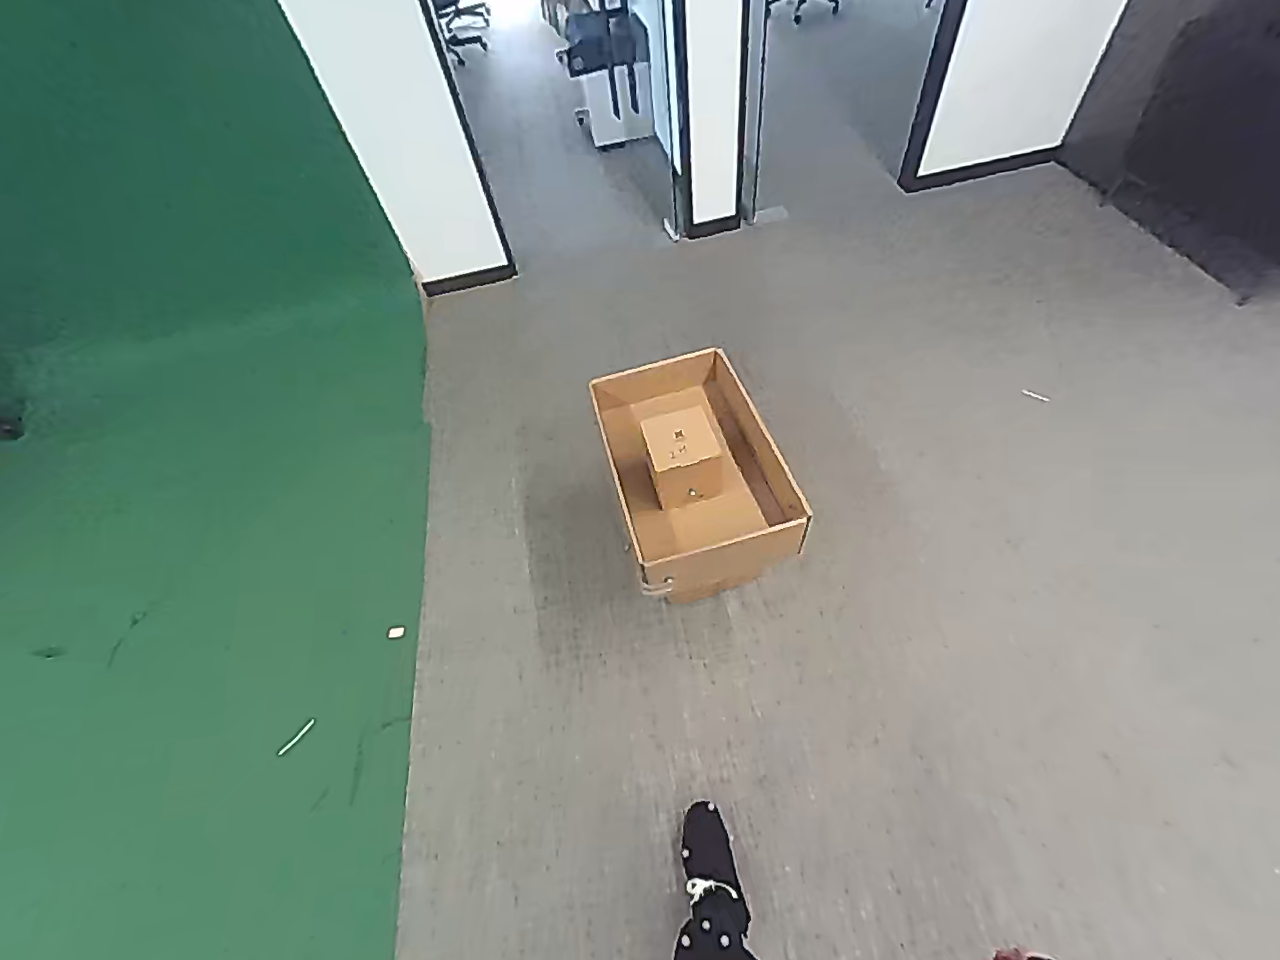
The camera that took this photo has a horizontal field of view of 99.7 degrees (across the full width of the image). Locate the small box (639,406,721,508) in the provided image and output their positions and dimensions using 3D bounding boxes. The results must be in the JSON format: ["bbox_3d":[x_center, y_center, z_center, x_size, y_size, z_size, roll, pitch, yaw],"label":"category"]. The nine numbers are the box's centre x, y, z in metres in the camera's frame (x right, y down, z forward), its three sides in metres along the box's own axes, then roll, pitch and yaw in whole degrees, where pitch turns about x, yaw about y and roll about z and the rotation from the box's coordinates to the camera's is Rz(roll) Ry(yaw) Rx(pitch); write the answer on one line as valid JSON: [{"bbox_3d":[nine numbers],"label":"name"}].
[{"bbox_3d":[0.102,-0.056,1.378,0.168,0.176,0.179,-15,53,-3],"label":"small box"}]
